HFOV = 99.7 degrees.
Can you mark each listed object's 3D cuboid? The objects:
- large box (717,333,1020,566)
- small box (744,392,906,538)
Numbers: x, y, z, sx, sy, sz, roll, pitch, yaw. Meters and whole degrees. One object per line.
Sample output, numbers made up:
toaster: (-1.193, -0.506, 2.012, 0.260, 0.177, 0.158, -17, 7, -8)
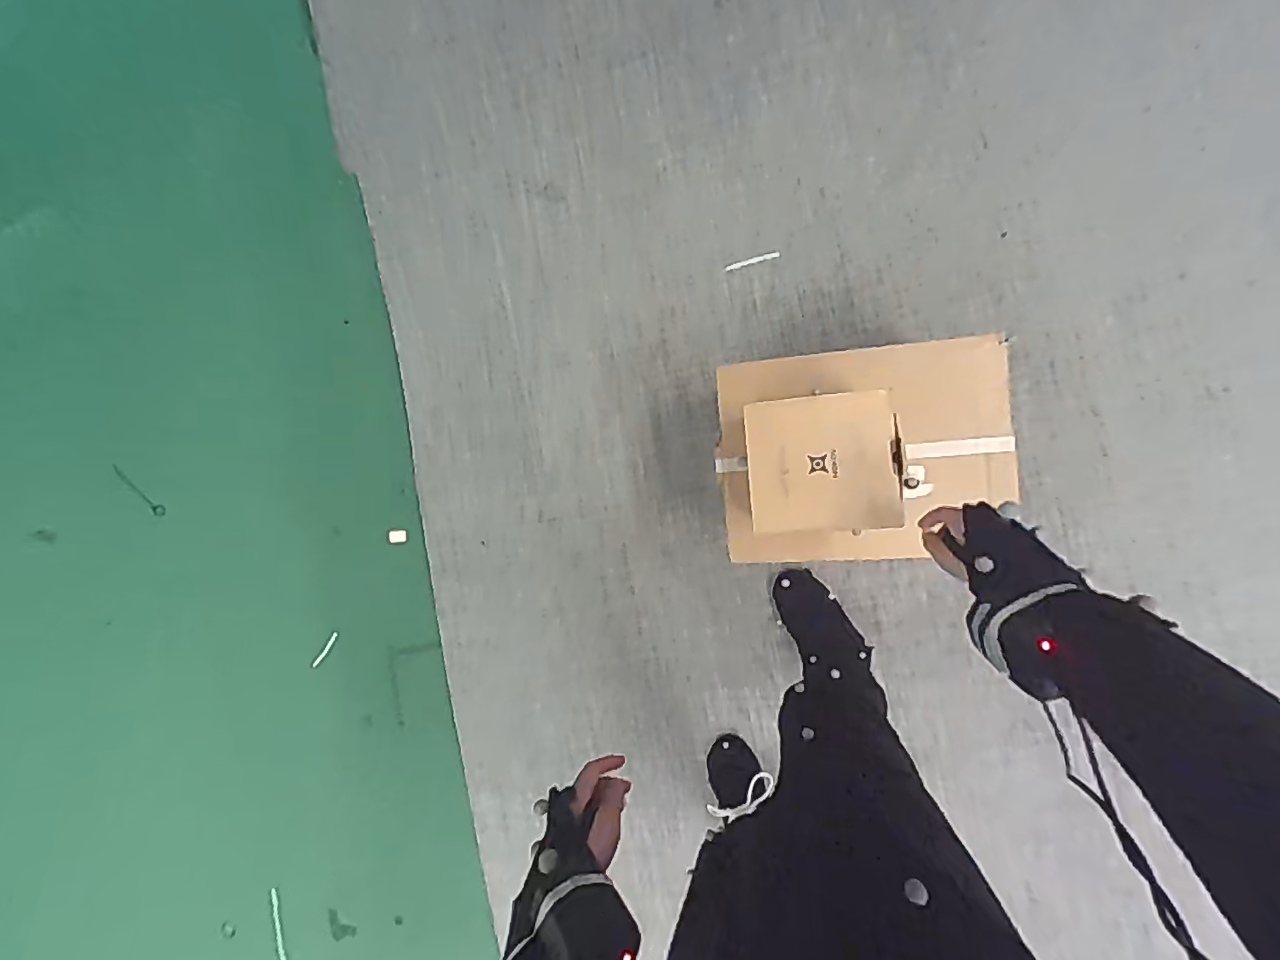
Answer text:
large box: (0.356, -0.039, 0.942, 0.408, 0.320, 0.320, -5, 91, 12)
small box: (0.236, -0.016, 0.721, 0.179, 0.176, 0.168, -5, 89, 14)
